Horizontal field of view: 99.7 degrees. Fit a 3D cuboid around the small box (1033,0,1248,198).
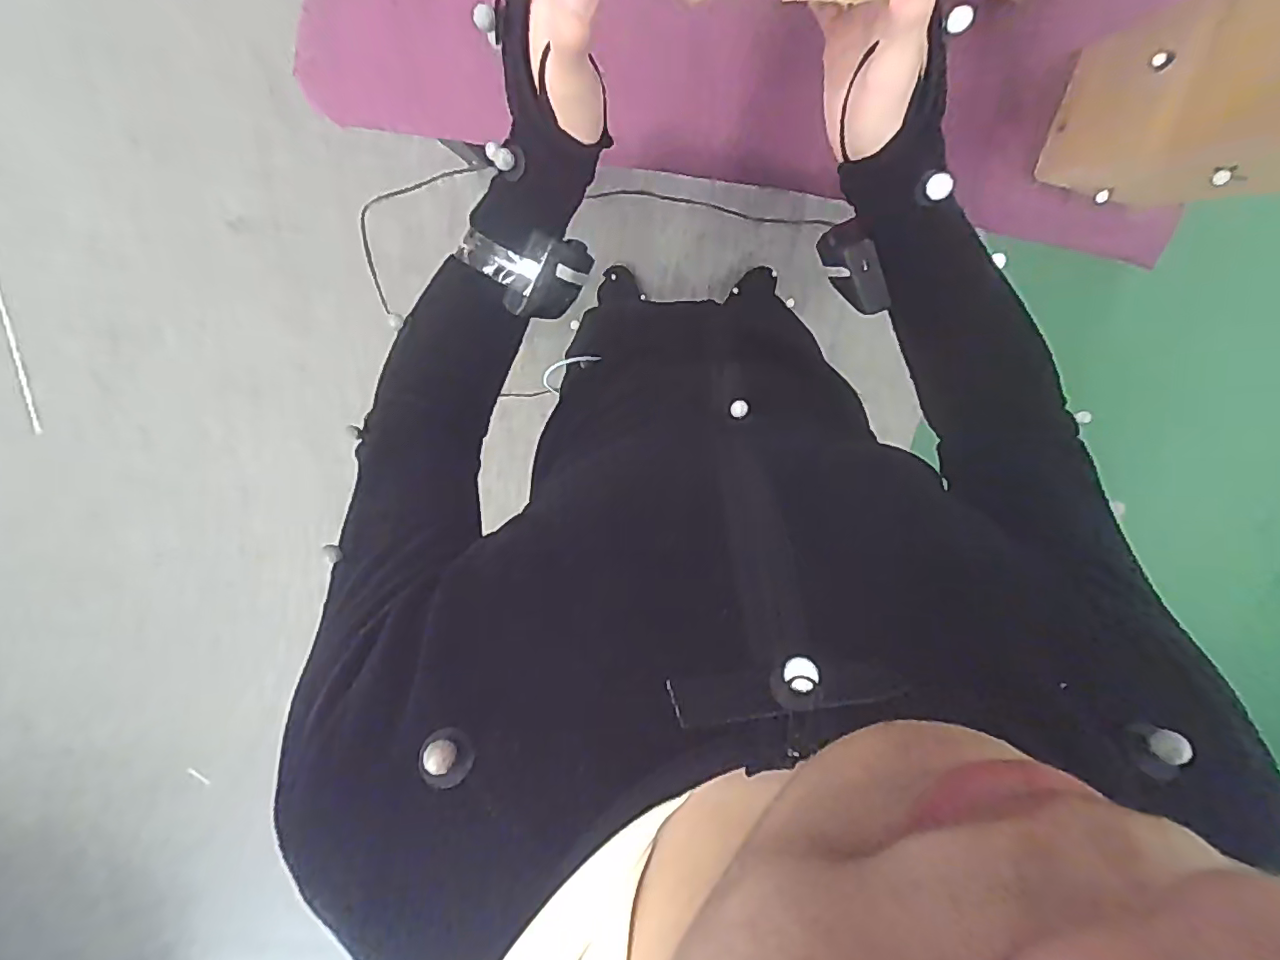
[{"bbox_3d":[0.665,-0.470,0.687,0.179,0.176,0.168,9,110,-9],"label":"small box"}]
